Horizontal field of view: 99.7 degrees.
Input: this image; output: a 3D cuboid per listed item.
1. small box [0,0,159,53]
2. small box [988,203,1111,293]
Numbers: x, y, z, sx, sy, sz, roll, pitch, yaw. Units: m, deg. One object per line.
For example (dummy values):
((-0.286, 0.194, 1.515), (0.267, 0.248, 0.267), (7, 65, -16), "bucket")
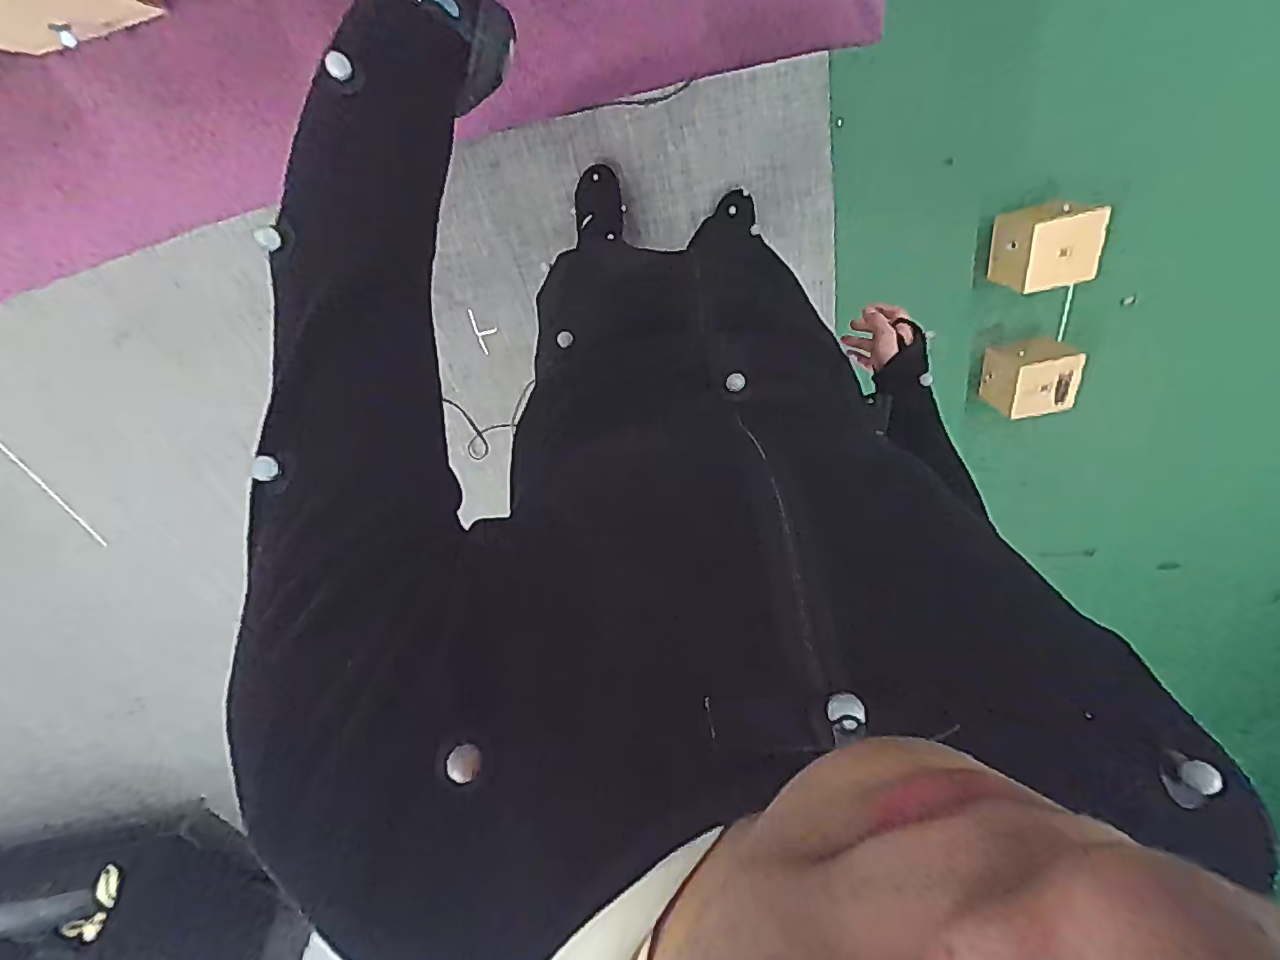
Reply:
((-0.604, -0.511, 0.475), (0.168, 0.176, 0.179), (-12, 123, 5), "small box")
((1.023, -0.591, 1.370), (0.179, 0.176, 0.168), (-12, 122, 4), "small box")
